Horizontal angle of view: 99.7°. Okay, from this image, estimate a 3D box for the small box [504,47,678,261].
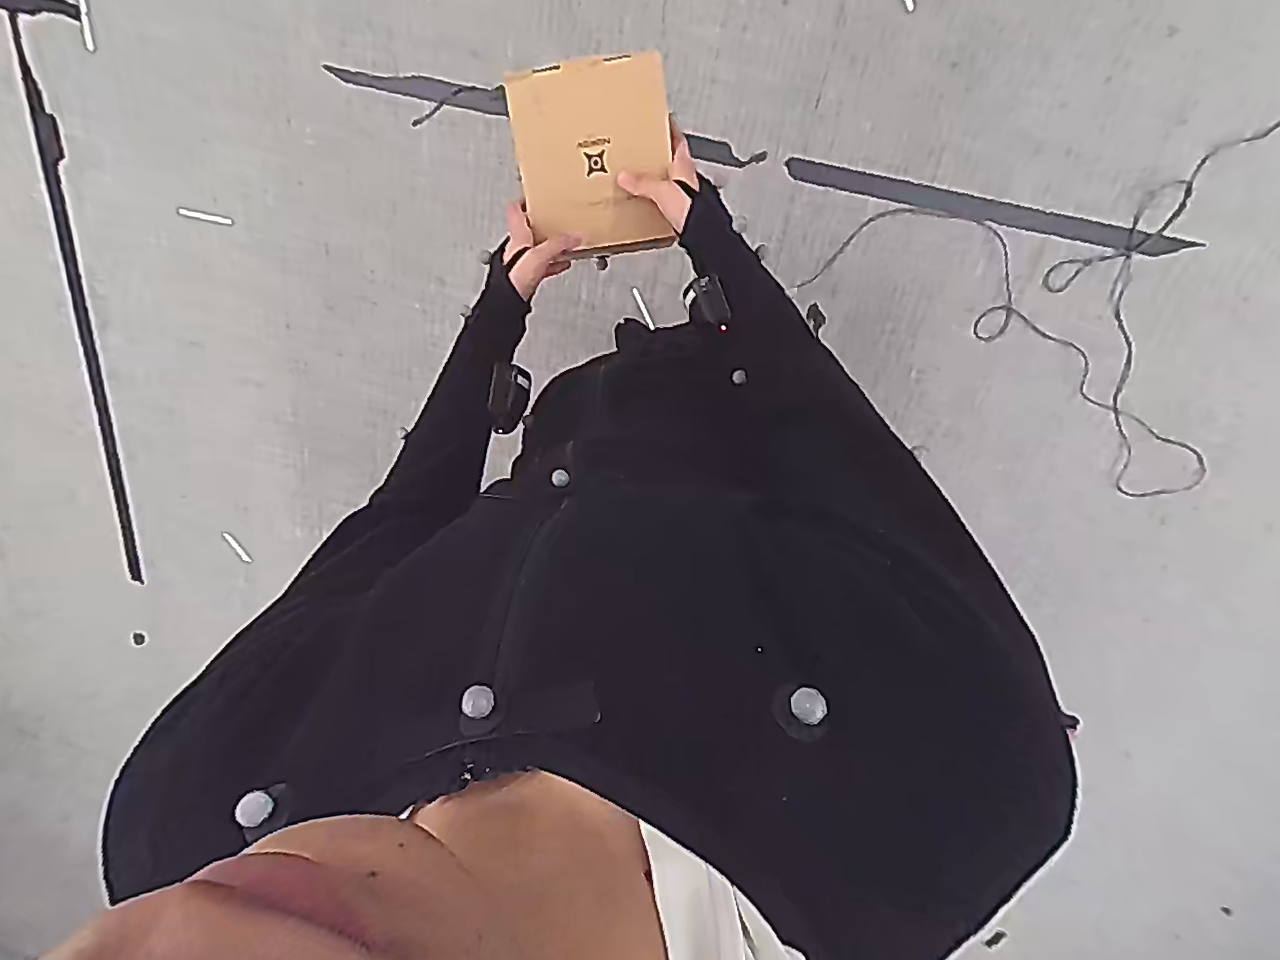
[{"bbox_3d":[-0.049,-0.369,0.645,0.168,0.176,0.179,-7,109,3],"label":"small box"}]
